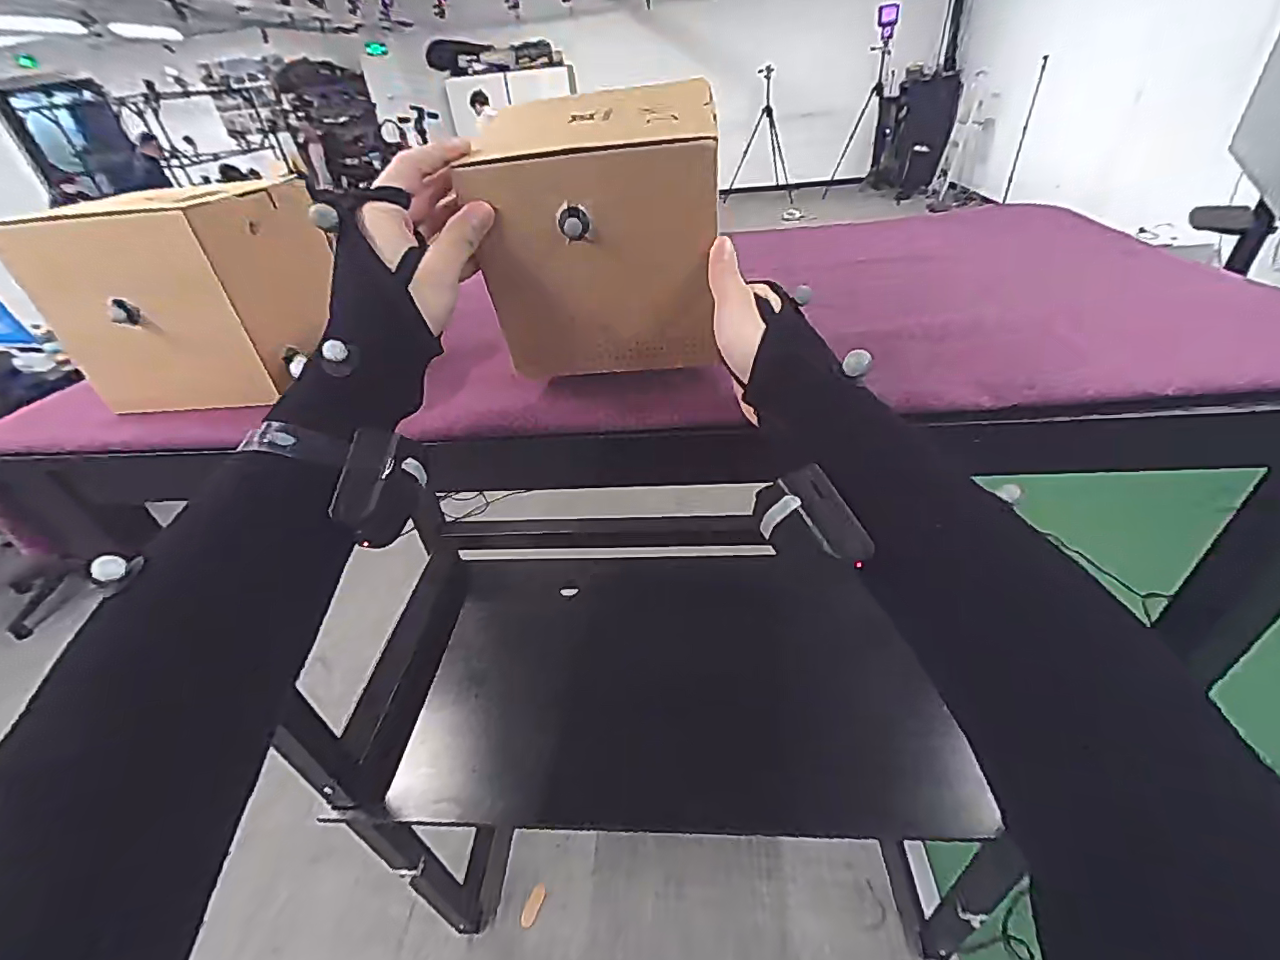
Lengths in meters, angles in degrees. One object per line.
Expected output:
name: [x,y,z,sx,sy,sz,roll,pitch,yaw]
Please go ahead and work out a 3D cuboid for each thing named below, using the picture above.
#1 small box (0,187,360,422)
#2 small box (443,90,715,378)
small box: [-0.414,-0.170,0.528,0.179,0.176,0.168,-4,36,6]
small box: [-0.030,-0.200,0.455,0.179,0.176,0.168,-2,46,8]
